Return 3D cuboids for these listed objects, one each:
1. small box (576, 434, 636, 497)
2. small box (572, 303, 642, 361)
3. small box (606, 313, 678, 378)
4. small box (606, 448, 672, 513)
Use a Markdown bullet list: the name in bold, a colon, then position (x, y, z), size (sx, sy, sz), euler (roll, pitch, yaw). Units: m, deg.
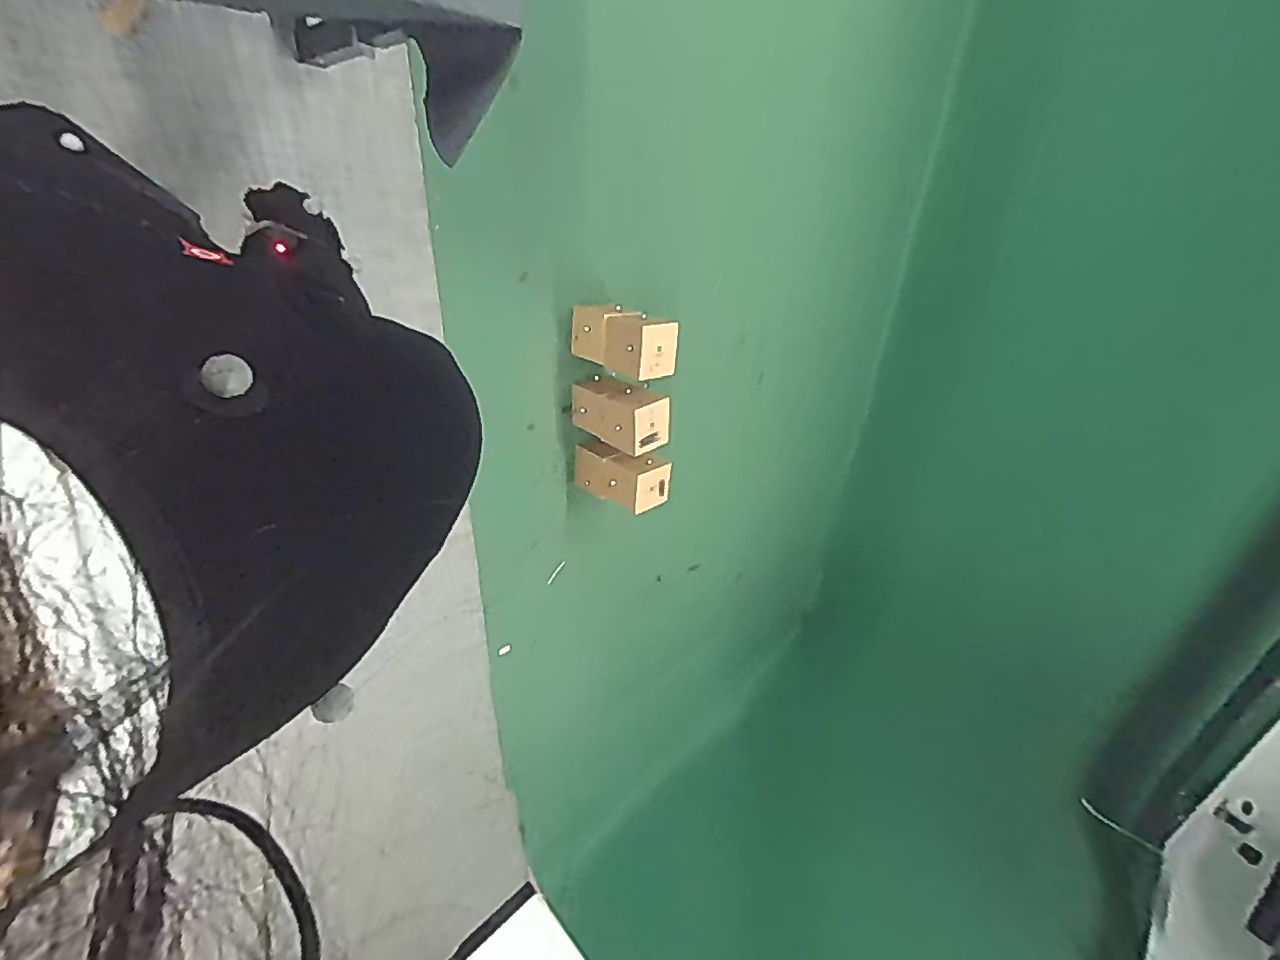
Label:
- **small box**: position (-0.137, -0.060, 2.111), size (0.168, 0.176, 0.179), euler (-20, 126, -41)
- **small box**: position (-0.118, -0.512, 1.861), size (0.179, 0.176, 0.168), euler (-19, 125, -42)
- **small box**: position (0.004, -0.447, 1.770), size (0.168, 0.176, 0.179), euler (-20, 125, -41)
- **small box**: position (-0.006, -0.007, 2.026), size (0.179, 0.176, 0.168), euler (-22, 128, -40)
